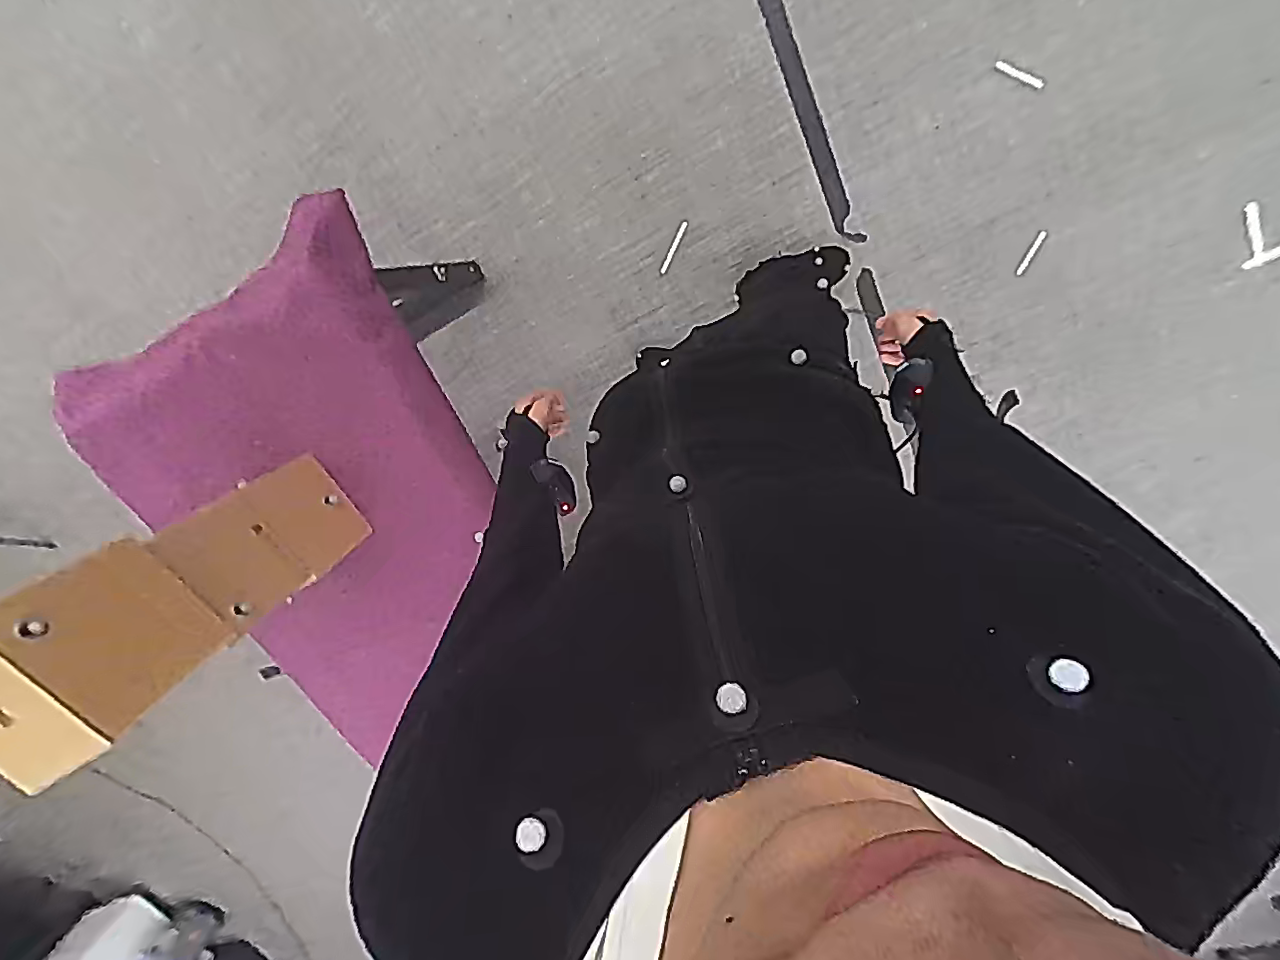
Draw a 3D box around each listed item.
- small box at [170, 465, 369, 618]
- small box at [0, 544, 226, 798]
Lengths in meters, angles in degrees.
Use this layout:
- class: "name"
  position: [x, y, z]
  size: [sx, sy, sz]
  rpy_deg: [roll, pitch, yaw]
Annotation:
- class: "small box"
  position: [-0.608, 0.092, 0.910]
  size: [0.168, 0.176, 0.179]
  rpy_deg: [-27, 107, 16]
- class: "small box"
  position: [-0.627, 0.204, 0.602]
  size: [0.168, 0.176, 0.179]
  rpy_deg: [-30, 107, 17]
